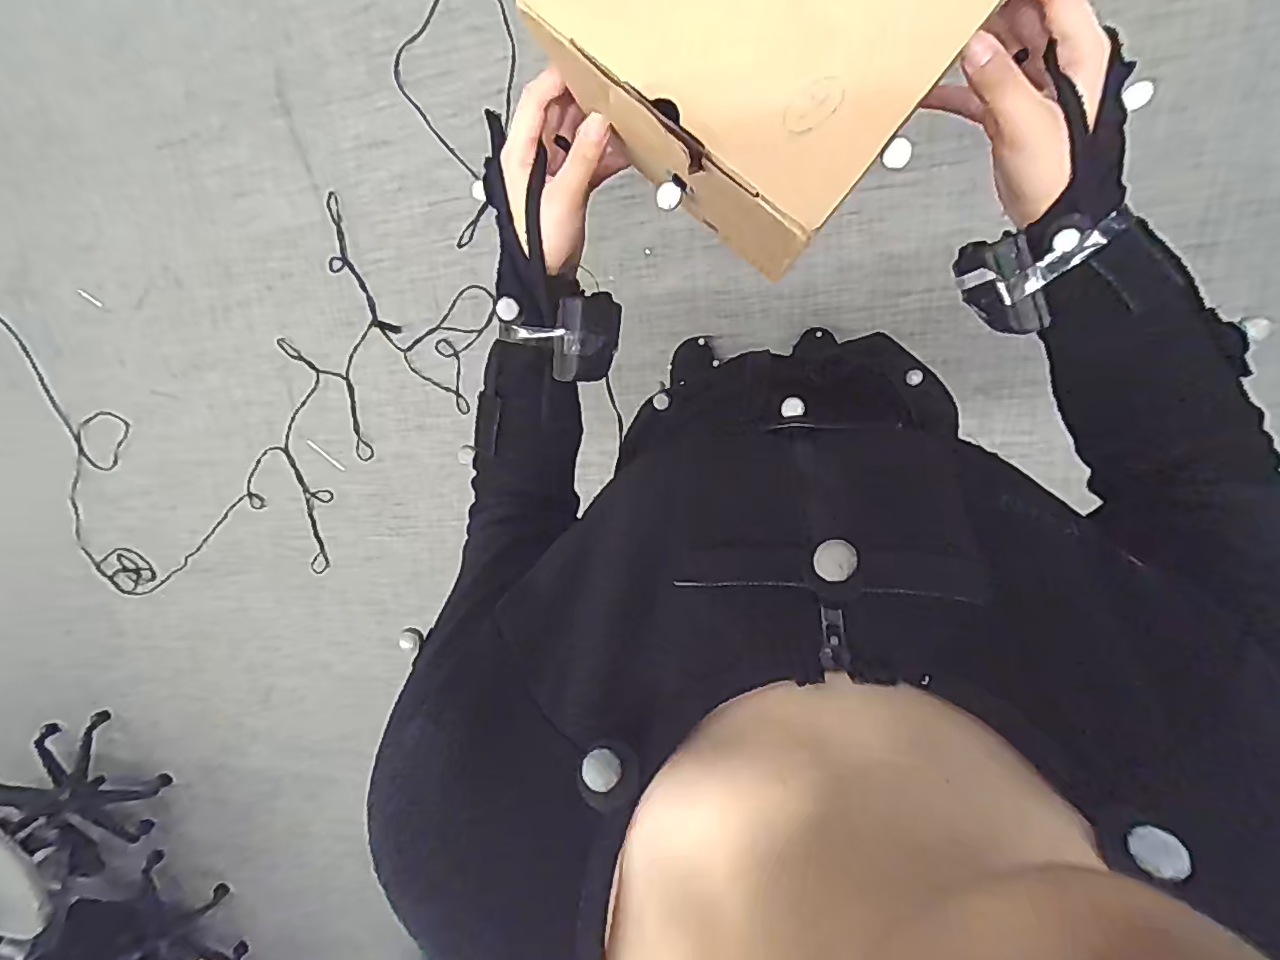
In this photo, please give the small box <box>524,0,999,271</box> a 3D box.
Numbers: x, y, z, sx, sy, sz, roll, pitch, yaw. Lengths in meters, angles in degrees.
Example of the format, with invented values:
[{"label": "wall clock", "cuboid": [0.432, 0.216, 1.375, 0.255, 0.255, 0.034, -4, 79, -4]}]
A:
[{"label": "small box", "cuboid": [0.074, -0.240, 0.295, 0.168, 0.176, 0.179, 39, 107, -1]}]
